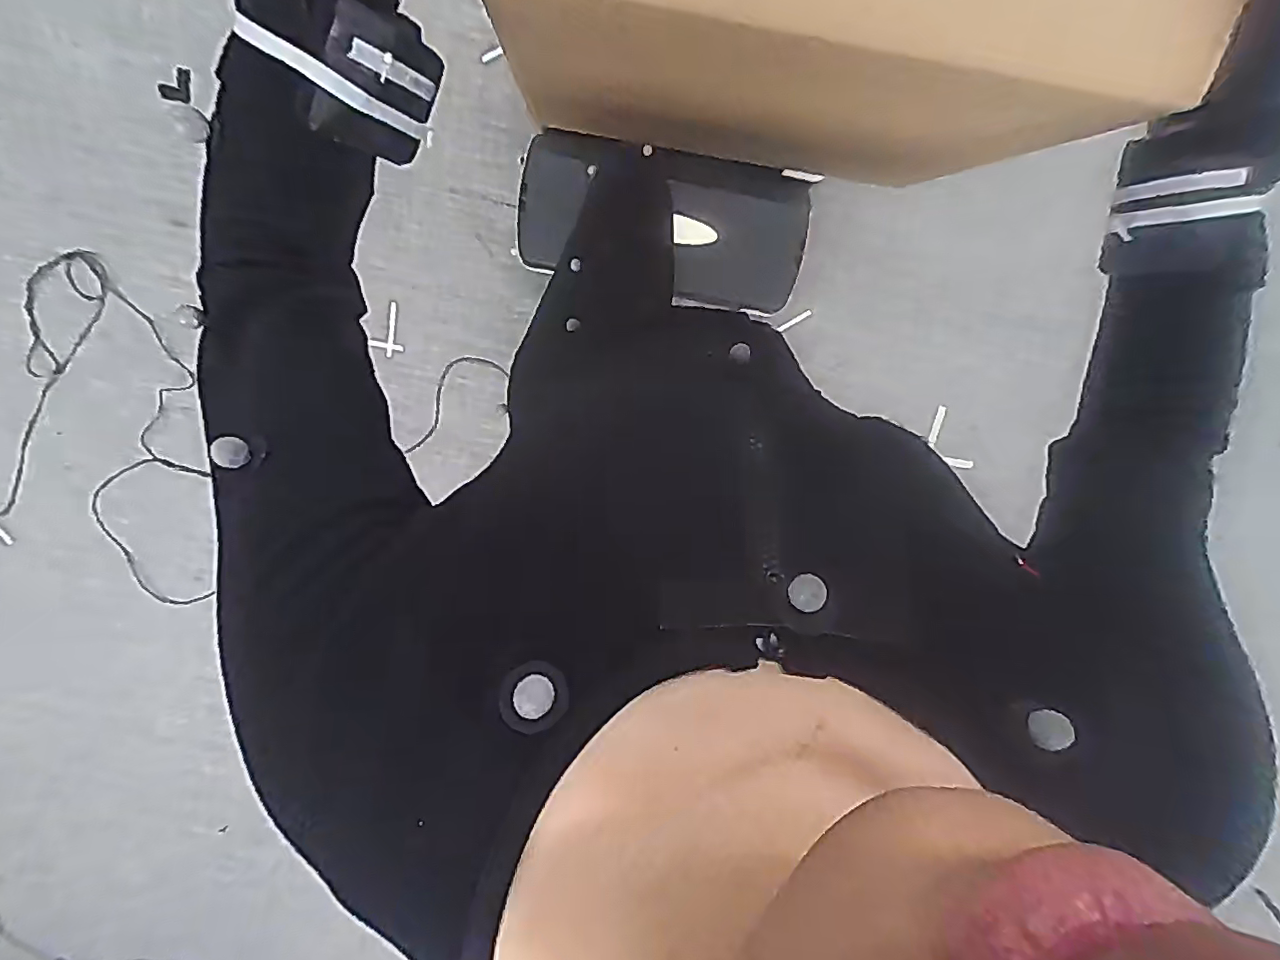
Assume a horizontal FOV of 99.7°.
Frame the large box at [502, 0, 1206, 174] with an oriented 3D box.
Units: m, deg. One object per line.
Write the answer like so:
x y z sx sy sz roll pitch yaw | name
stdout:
0.119 -0.438 0.381 0.408 0.320 0.320 5 111 -7 | large box
